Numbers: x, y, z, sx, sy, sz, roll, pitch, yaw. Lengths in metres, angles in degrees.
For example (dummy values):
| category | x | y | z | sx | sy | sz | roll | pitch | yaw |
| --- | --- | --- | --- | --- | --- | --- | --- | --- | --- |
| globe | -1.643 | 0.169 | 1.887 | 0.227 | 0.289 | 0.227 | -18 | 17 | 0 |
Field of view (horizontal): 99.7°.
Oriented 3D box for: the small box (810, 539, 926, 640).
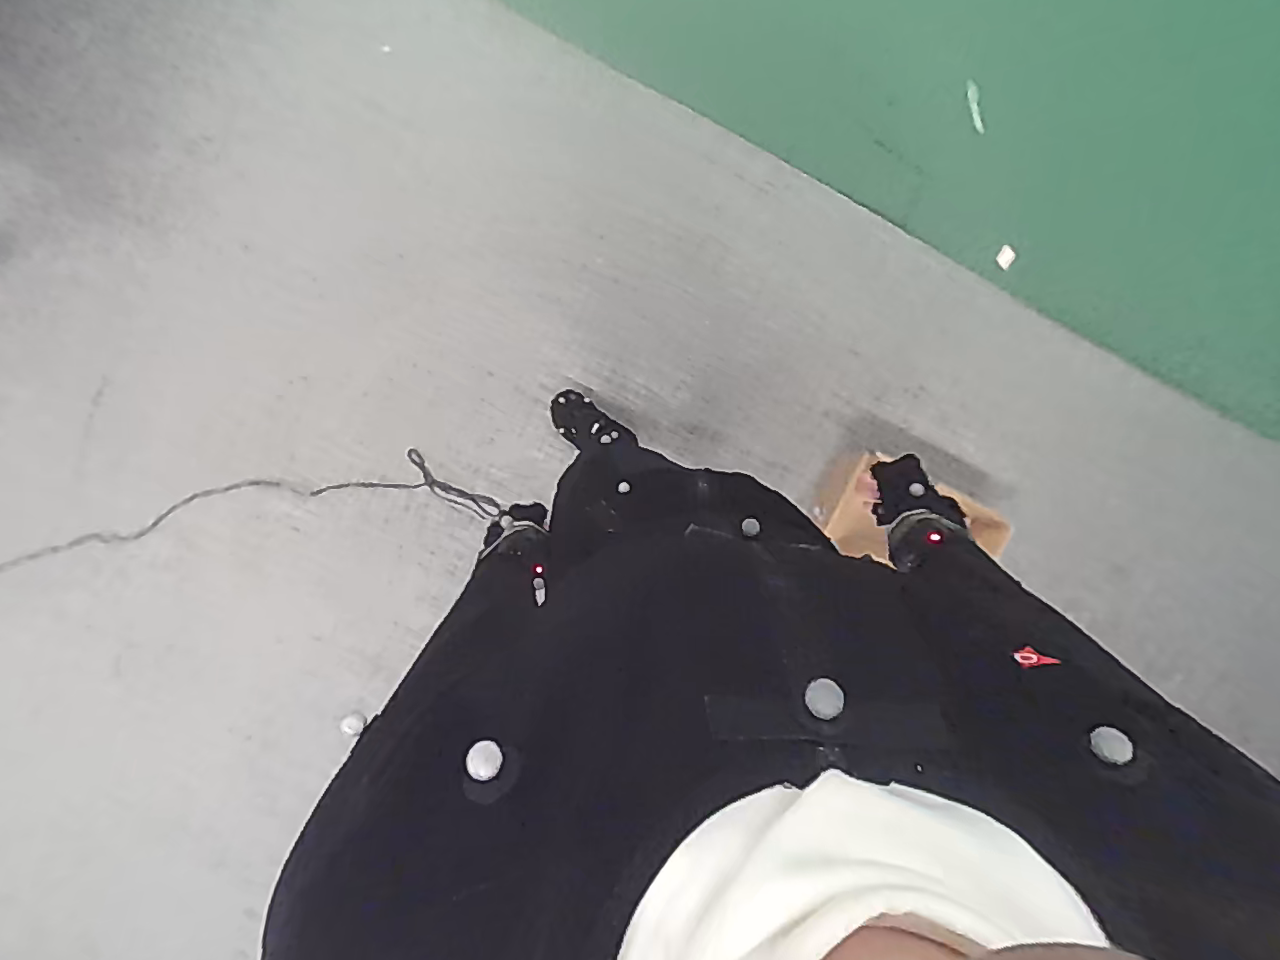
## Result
| category | x | y | z | sx | sy | sz | roll | pitch | yaw |
| --- | --- | --- | --- | --- | --- | --- | --- | --- | --- |
| small box | 0.551 | 0.259 | 1.332 | 0.179 | 0.176 | 0.168 | 26 | 94 | -4 |
